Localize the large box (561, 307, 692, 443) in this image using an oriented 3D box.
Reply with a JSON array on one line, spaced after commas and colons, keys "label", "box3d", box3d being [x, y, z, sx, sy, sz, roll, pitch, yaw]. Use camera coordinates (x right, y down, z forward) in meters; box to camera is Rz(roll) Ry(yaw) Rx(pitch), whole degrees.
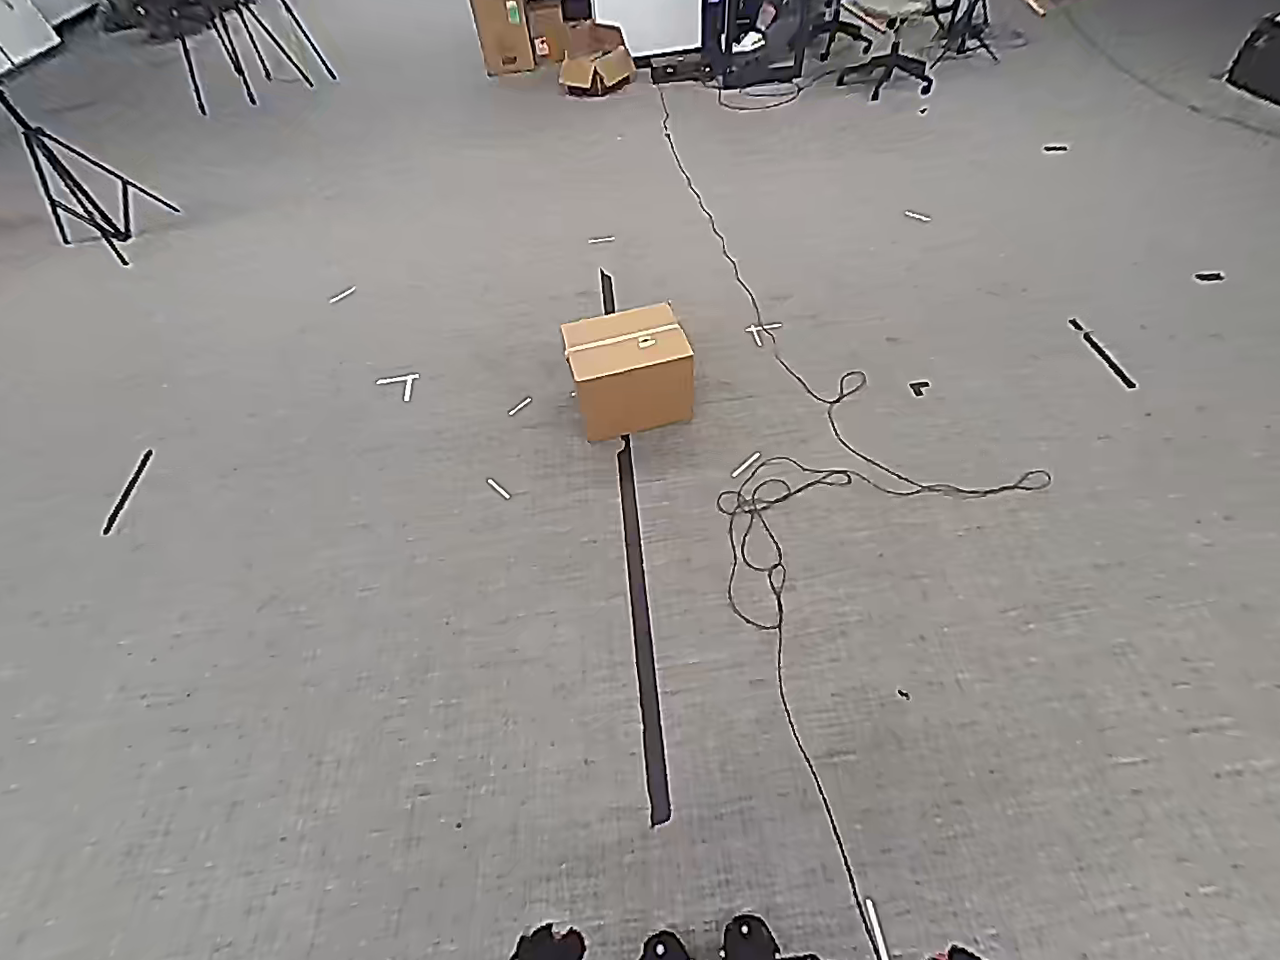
[{"label": "large box", "box3d": [-0.046, -0.380, 1.981, 0.408, 0.320, 0.320, -14, 52, -6]}]
